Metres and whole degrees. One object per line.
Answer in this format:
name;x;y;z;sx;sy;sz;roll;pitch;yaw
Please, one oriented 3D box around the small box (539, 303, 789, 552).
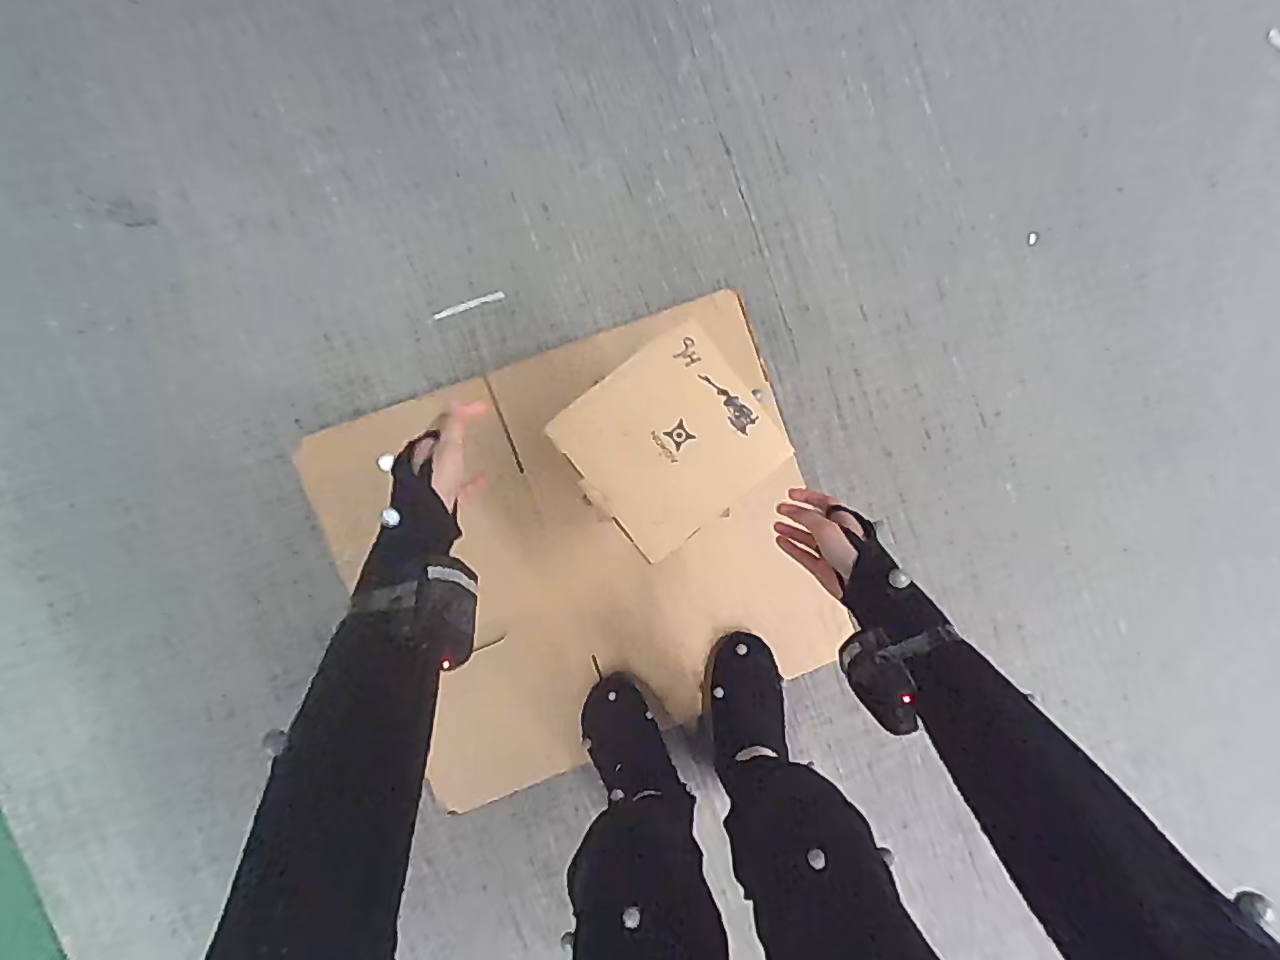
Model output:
small box;0.020;-0.049;0.573;0.179;0.176;0.168;-38;94;-2
